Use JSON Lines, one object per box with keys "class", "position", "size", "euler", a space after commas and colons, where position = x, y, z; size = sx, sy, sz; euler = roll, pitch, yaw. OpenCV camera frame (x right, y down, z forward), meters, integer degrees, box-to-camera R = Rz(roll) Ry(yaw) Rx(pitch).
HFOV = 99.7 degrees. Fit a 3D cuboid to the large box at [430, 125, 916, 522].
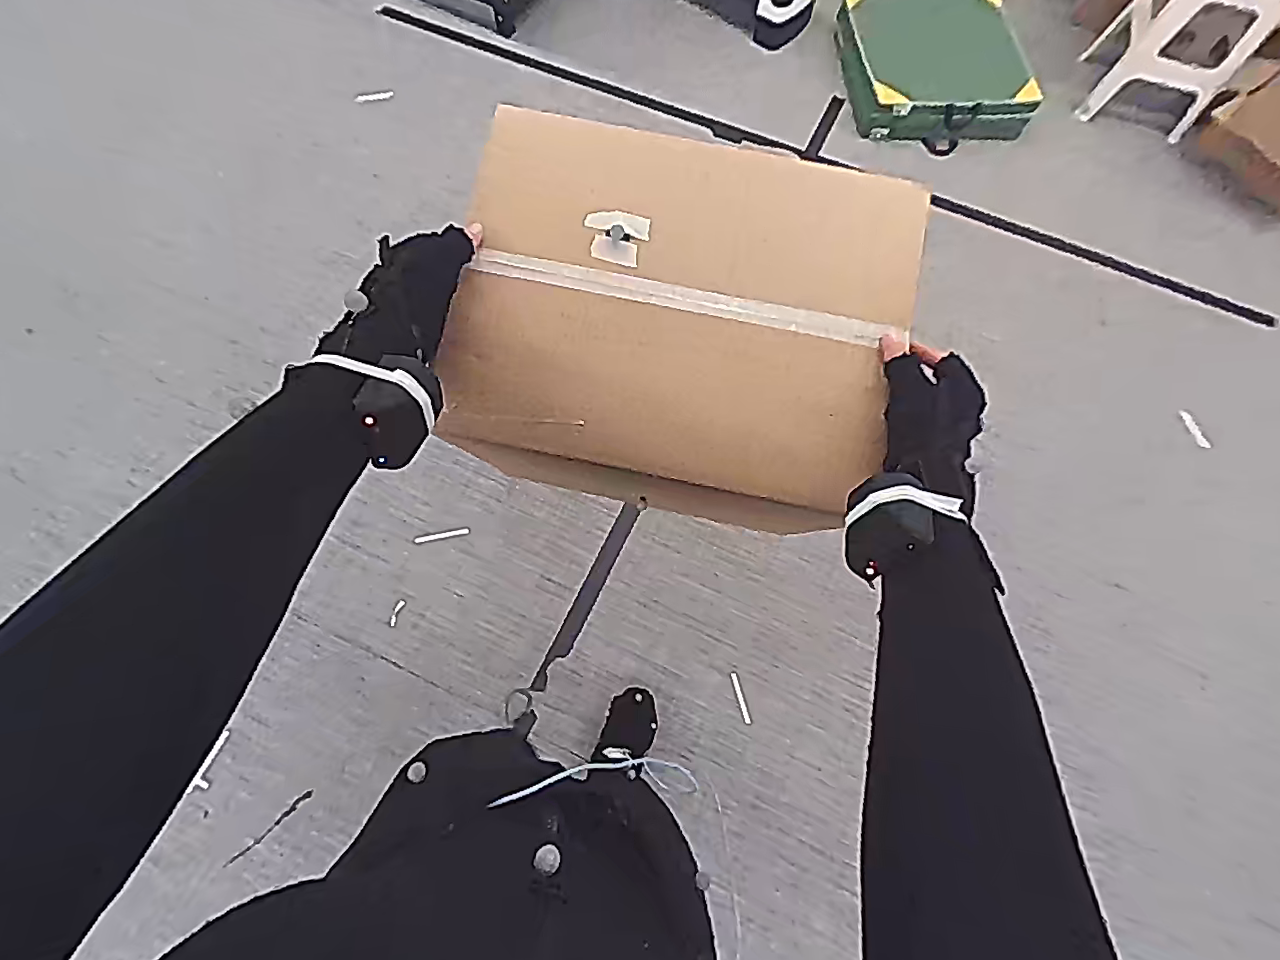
{"class": "large box", "position": [0.040, -0.139, 0.640], "size": [0.408, 0.320, 0.320], "euler": [12, 82, 3]}
